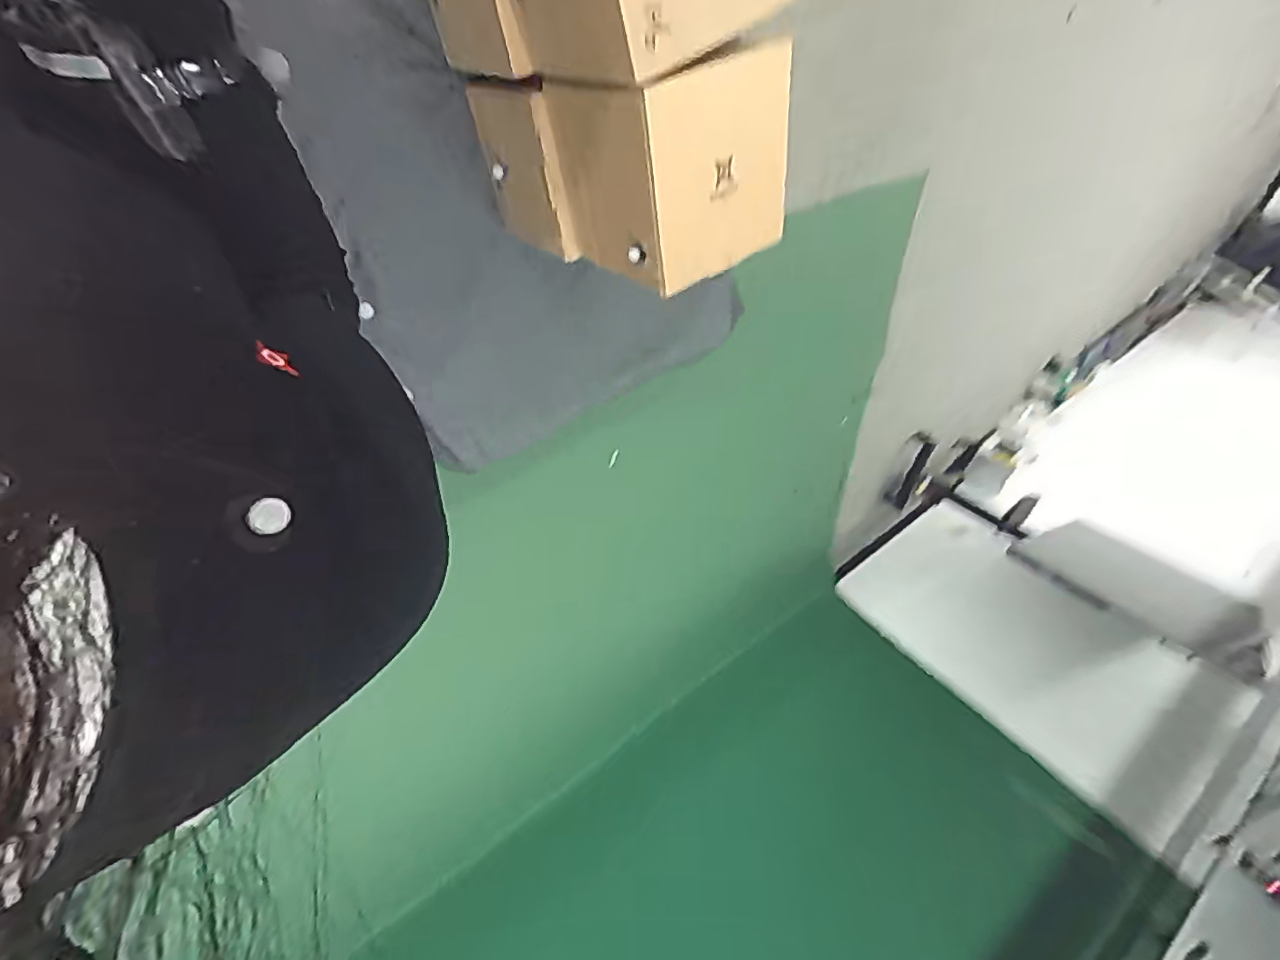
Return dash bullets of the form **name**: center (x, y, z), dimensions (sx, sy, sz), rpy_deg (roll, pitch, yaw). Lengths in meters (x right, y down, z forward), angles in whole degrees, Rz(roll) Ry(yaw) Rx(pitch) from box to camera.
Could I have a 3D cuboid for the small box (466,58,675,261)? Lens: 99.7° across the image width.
- **small box**: center (-0.080, -0.396, 0.659), dimensions (0.179, 0.176, 0.168), rpy_deg (-31, 138, -21)
